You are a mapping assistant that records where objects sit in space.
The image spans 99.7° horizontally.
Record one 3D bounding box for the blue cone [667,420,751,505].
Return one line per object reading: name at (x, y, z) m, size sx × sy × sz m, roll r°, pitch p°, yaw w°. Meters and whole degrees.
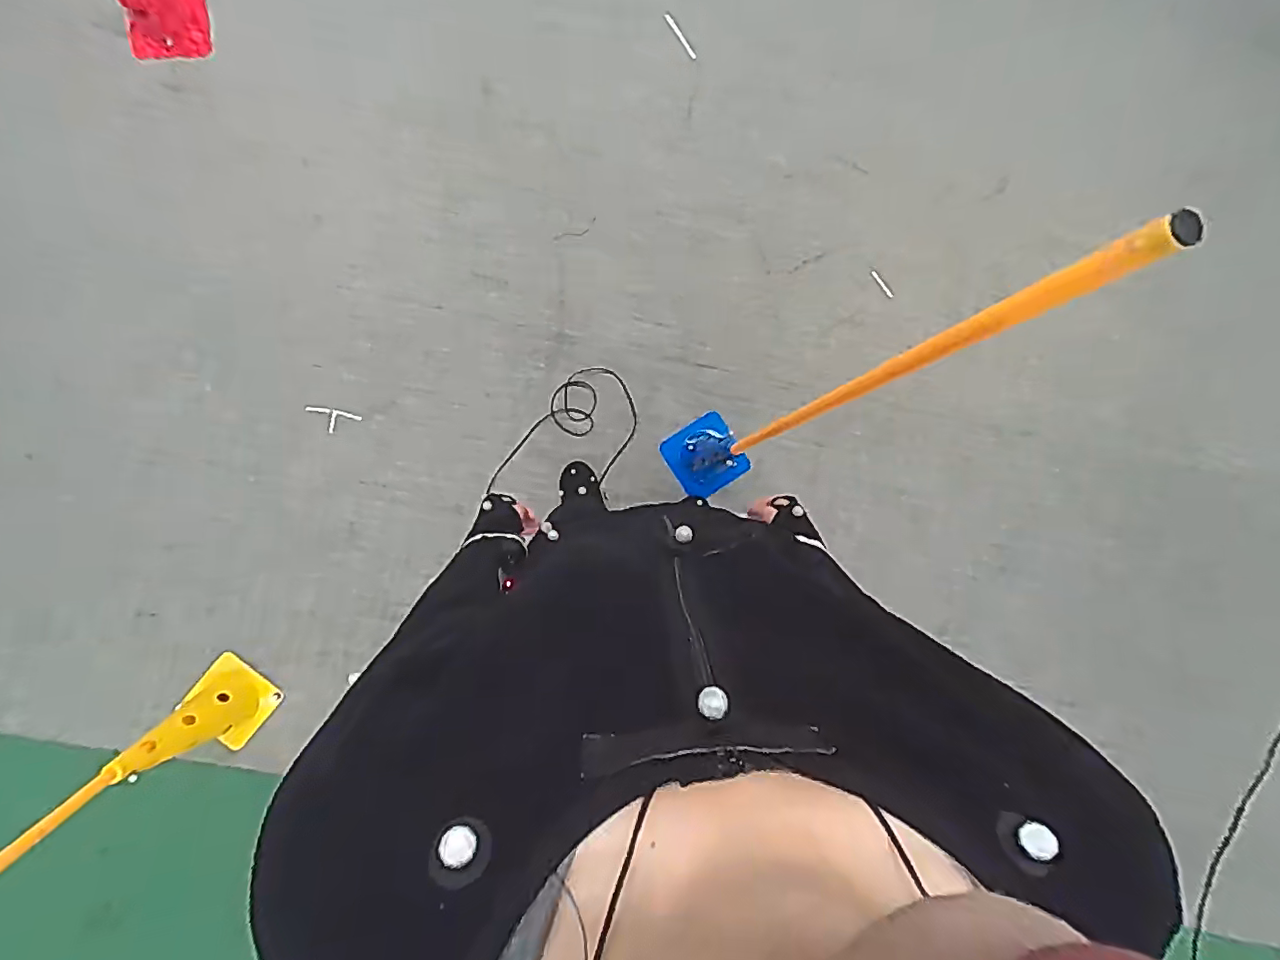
blue cone at (0.200, -0.055, 1.330) m, size 0.193 × 0.380 × 0.192 m, roll -34°, pitch 92°, yaw -5°
